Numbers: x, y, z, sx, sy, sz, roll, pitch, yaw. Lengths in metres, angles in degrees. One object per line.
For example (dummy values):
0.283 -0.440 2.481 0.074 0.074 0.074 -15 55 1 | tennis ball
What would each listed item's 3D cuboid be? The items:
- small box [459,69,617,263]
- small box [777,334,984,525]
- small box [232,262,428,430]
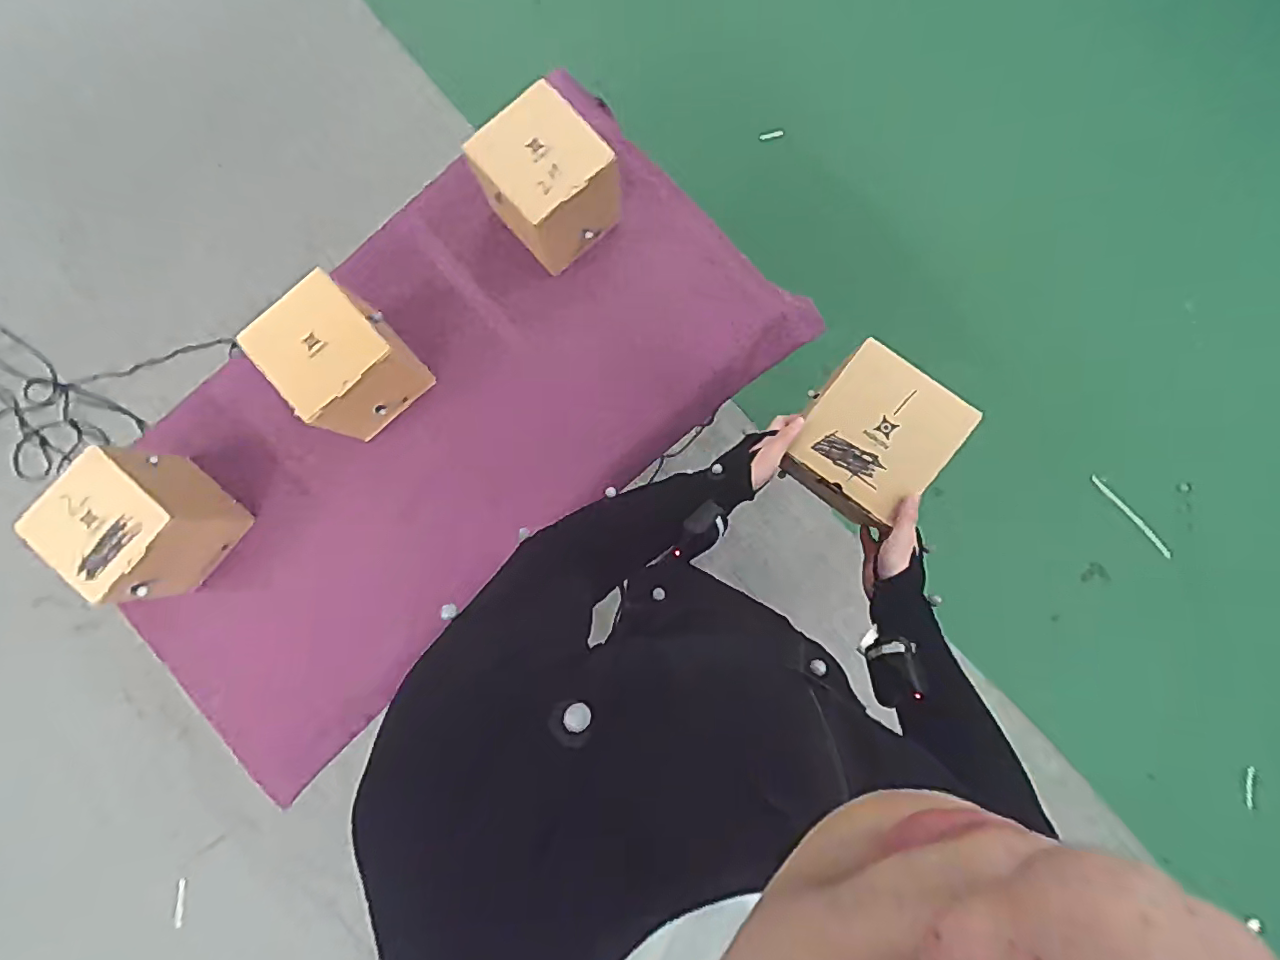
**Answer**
-0.155 -0.496 0.883 0.168 0.176 0.179 -41 86 -1 | small box
0.303 -0.059 0.730 0.168 0.176 0.179 39 93 5 | small box
-0.482 -0.202 0.869 0.168 0.176 0.179 -43 87 -3 | small box
